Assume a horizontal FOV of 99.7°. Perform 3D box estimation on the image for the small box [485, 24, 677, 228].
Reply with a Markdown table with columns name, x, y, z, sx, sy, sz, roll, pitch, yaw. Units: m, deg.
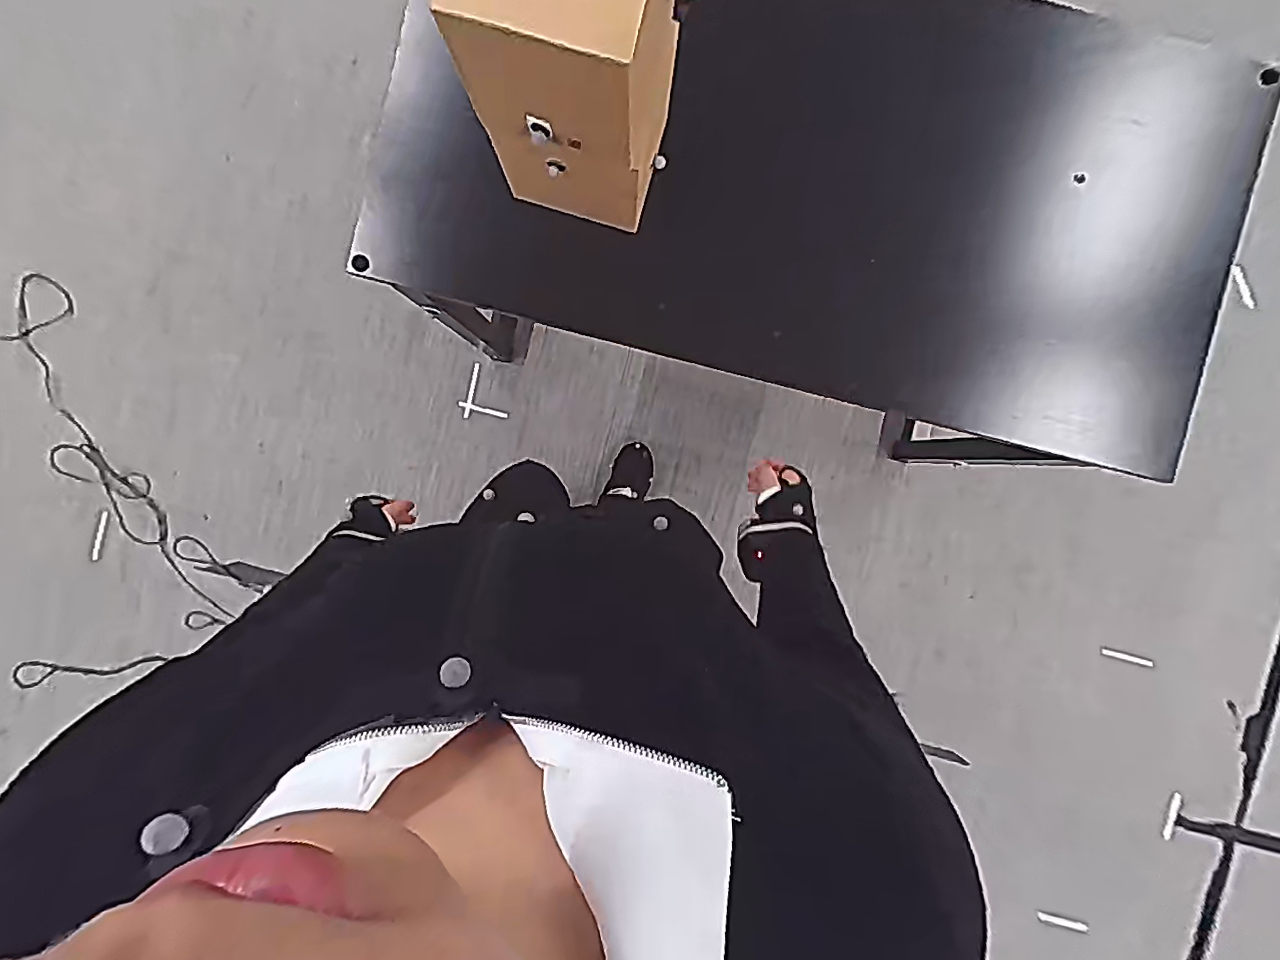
| name | x | y | z | sx | sy | sz | roll | pitch | yaw |
| --- | --- | --- | --- | --- | --- | --- | --- | --- | --- |
| small box | -0.067 | -0.440 | 0.665 | 0.179 | 0.176 | 0.168 | 15 | 92 | -3 |

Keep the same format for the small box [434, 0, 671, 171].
| name | x | y | z | sx | sy | sz | roll | pitch | yaw |
| --- | --- | --- | --- | --- | --- | --- | --- | --- | --- |
| small box | -0.065 | -0.433 | 0.503 | 0.168 | 0.176 | 0.179 | 14 | 93 | -1 |
